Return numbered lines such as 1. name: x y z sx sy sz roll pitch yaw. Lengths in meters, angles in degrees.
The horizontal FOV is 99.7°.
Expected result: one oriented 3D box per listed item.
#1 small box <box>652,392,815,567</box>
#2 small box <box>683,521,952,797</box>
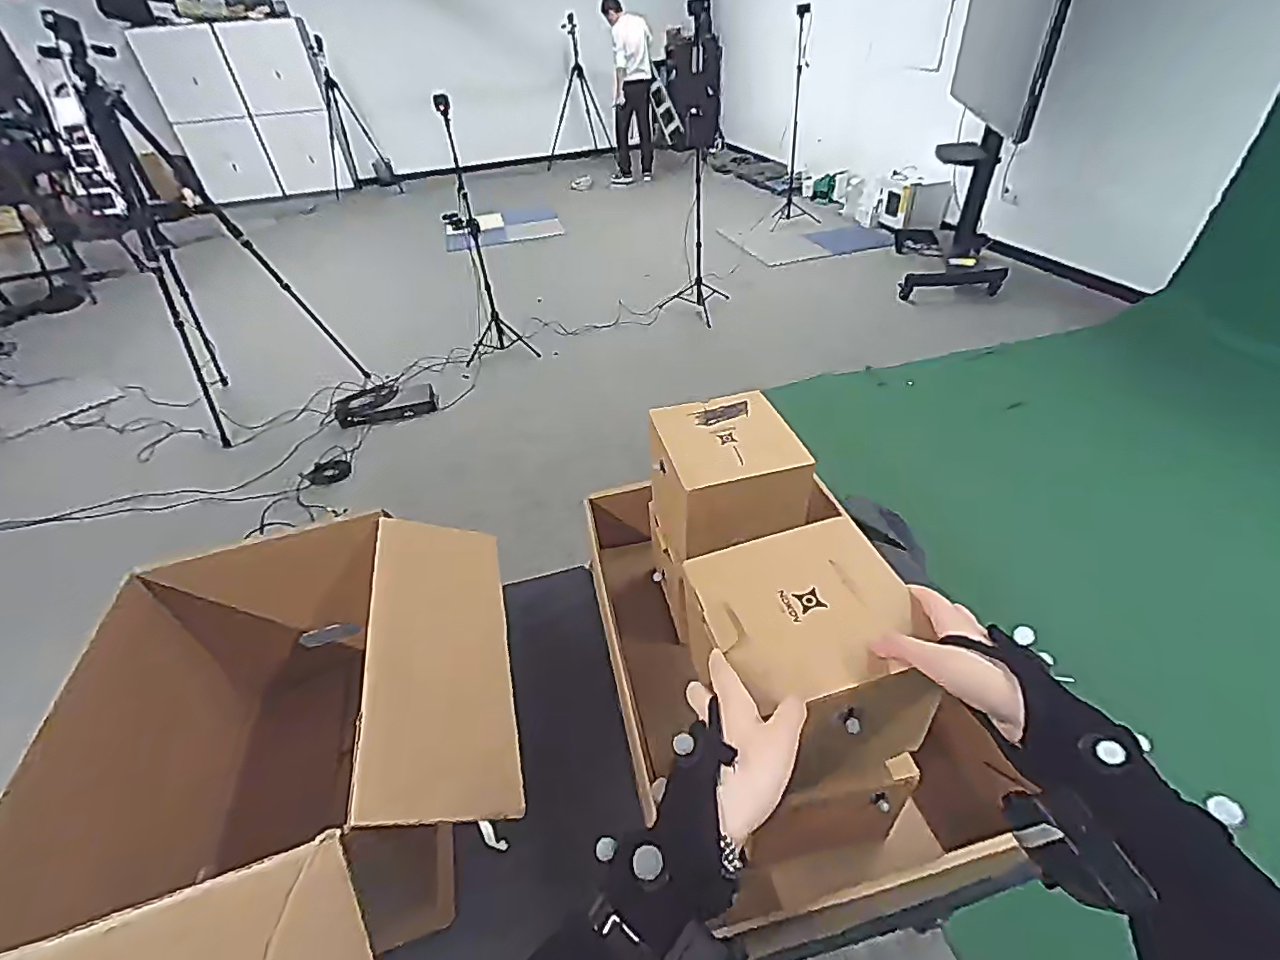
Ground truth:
1. small box: 0.116 0.004 0.747 0.168 0.176 0.179 -12 43 -8
2. small box: 0.152 0.171 0.521 0.179 0.176 0.168 -14 40 -8
